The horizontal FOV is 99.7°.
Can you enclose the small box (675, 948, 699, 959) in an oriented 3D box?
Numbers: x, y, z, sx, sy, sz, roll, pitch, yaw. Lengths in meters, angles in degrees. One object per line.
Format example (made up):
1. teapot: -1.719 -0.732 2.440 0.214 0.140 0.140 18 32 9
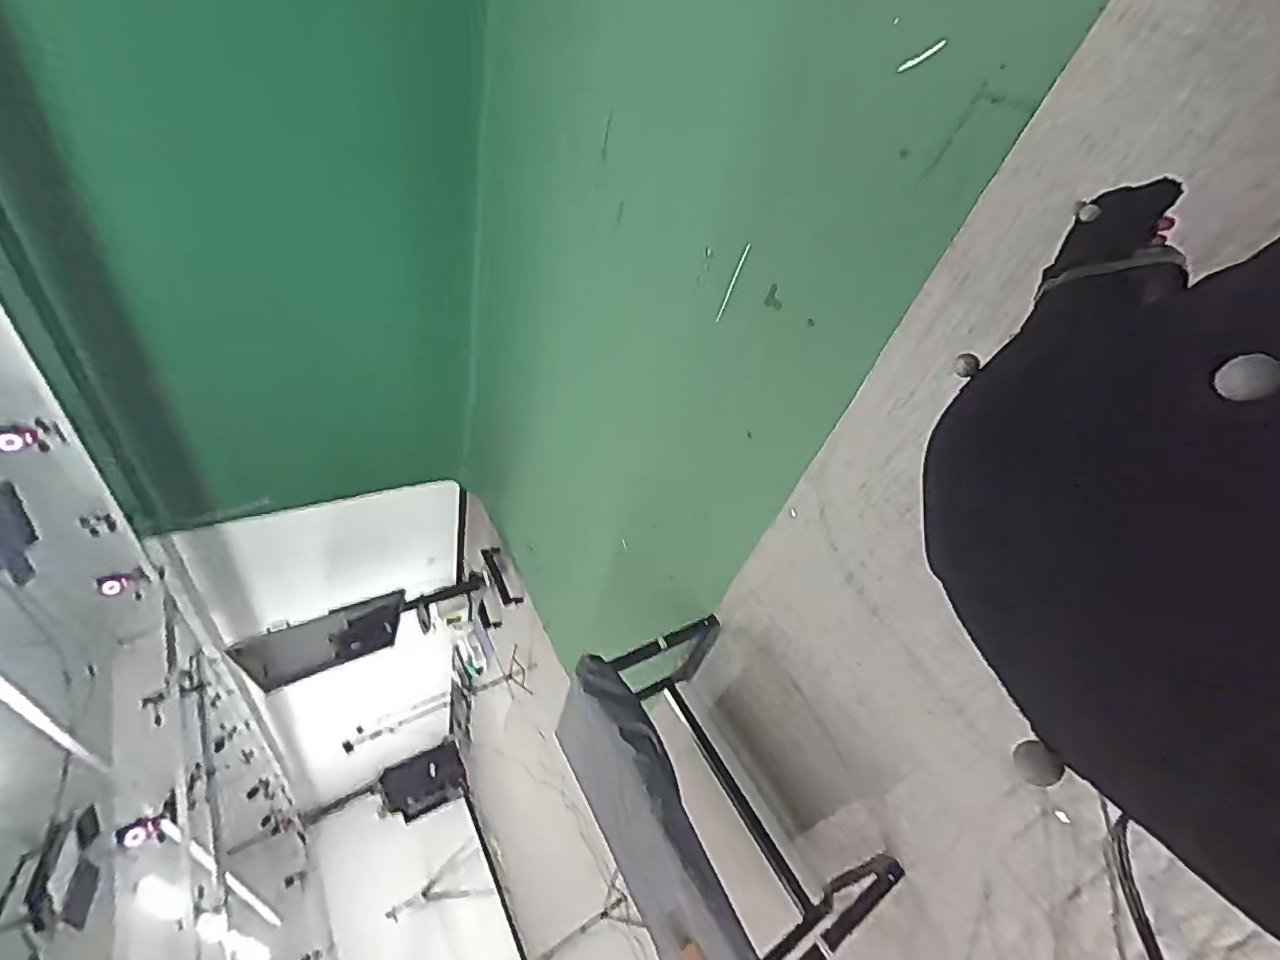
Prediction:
1. small box: 0.134 1.663 1.731 0.179 0.176 0.168 52 140 35
